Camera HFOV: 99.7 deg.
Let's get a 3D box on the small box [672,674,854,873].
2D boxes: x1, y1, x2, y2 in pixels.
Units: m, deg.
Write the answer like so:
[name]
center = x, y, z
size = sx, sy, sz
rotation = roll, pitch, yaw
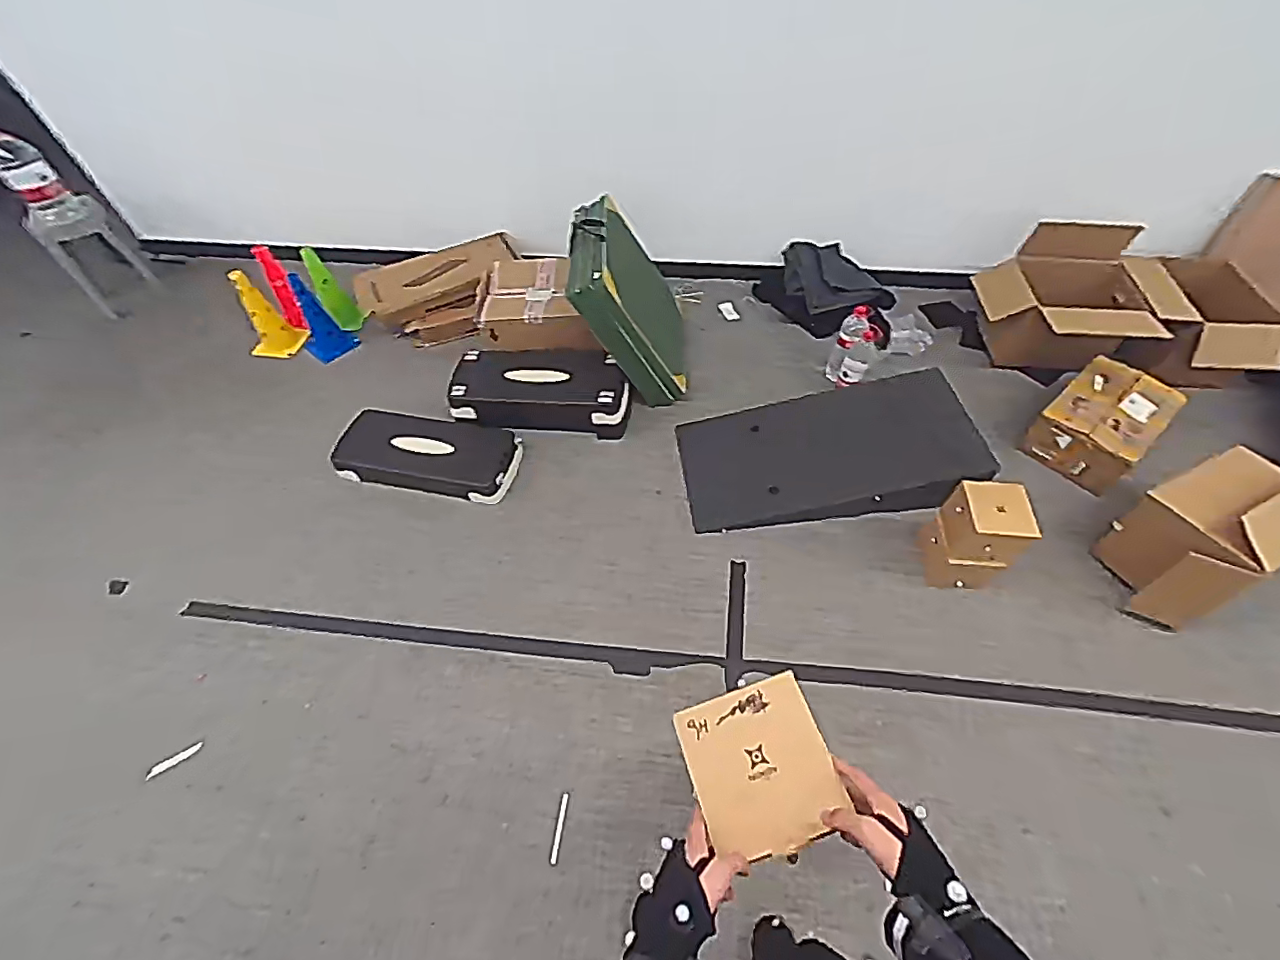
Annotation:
[small box]
center = 0.156, 0.381, 0.712
size = 0.168, 0.176, 0.179
rotation = -20, 57, 0
